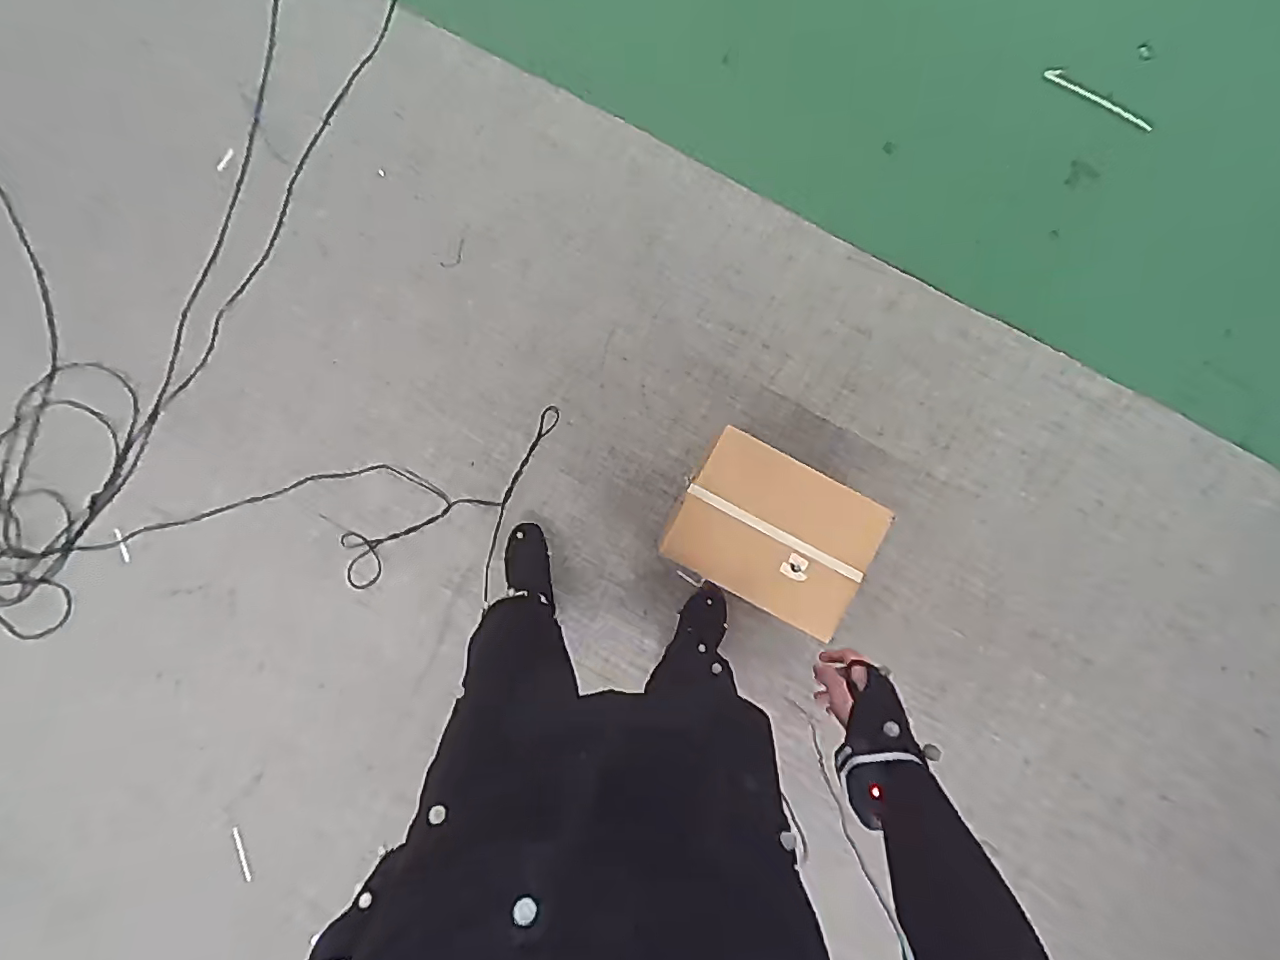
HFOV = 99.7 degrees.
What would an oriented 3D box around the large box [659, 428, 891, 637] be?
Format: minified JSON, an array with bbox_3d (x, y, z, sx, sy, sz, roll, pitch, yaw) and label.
[{"bbox_3d":[0.289,0.114,1.293,0.408,0.320,0.320,28,89,2],"label":"large box"}]
